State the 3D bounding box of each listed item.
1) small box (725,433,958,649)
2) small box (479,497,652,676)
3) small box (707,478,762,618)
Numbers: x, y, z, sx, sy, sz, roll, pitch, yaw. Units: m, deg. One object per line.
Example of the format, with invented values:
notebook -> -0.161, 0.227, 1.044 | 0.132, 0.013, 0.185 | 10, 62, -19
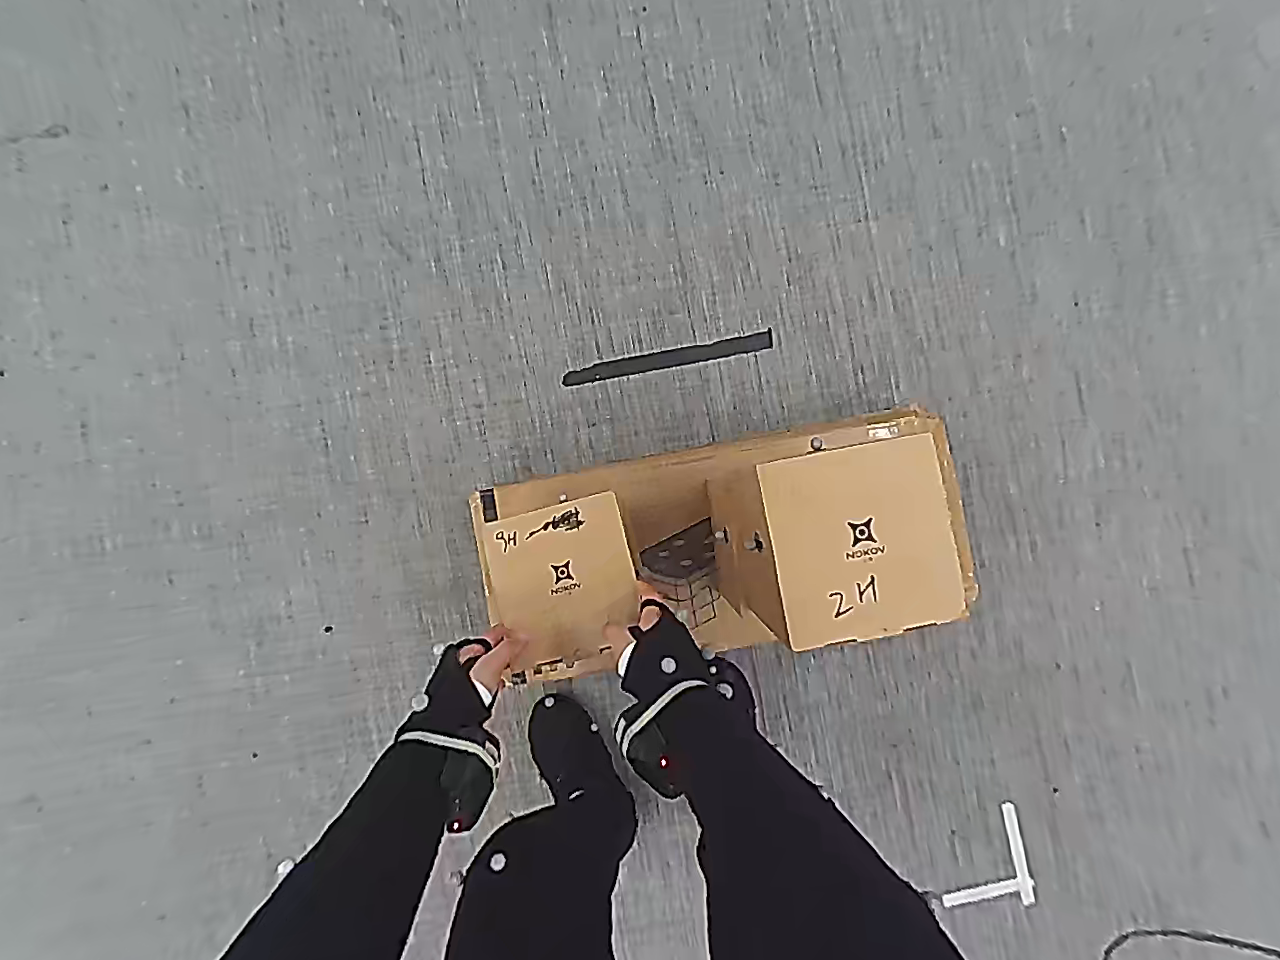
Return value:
small box -> 0.194, 0.058, 0.573 | 0.168, 0.176, 0.179 | -11, 89, -1
small box -> -0.085, 0.130, 0.699 | 0.168, 0.176, 0.179 | -15, 82, 3
small box -> 0.190, 0.076, 0.738 | 0.168, 0.176, 0.179 | -7, 90, 0
